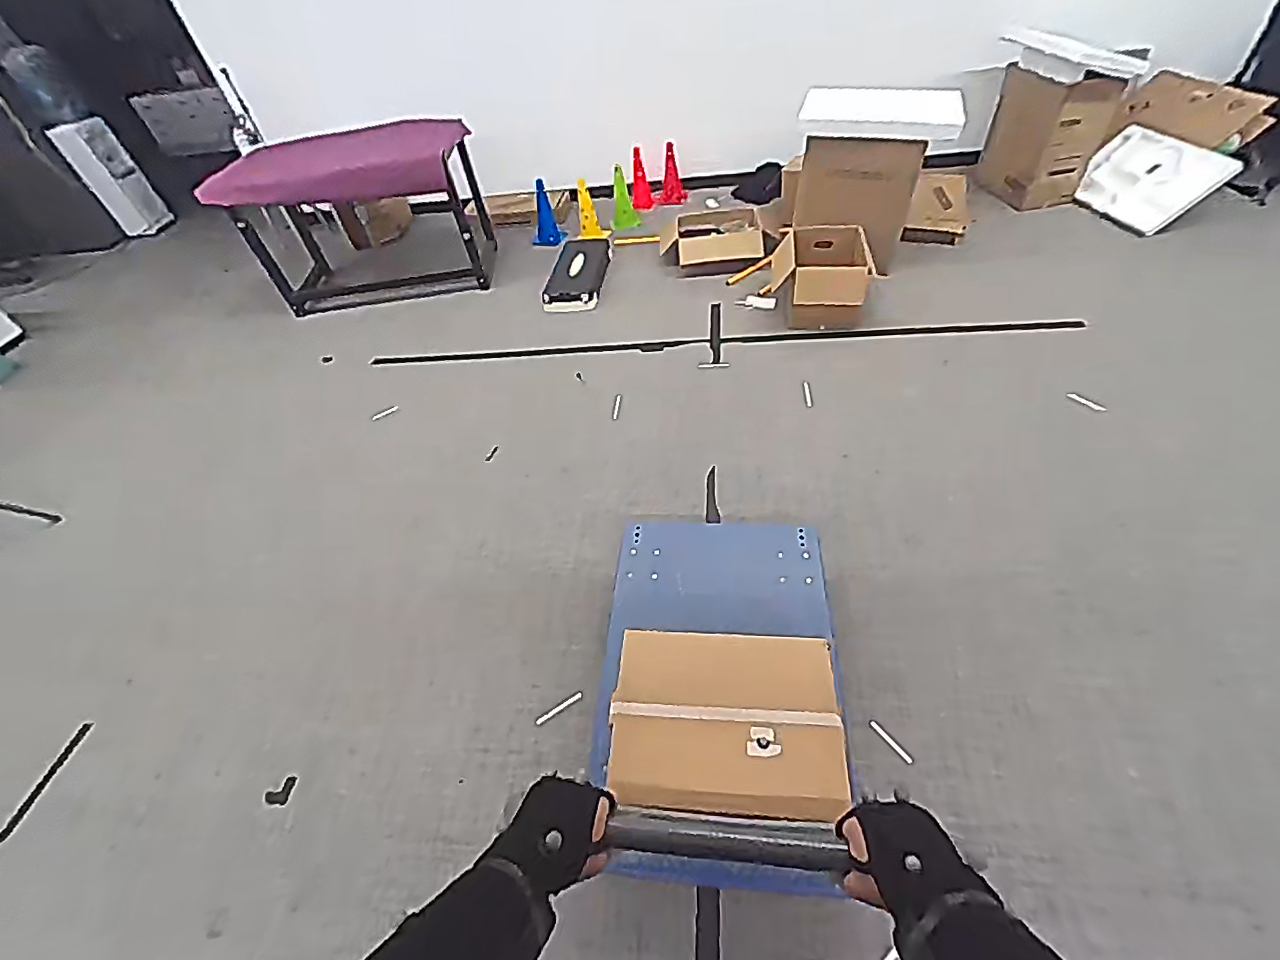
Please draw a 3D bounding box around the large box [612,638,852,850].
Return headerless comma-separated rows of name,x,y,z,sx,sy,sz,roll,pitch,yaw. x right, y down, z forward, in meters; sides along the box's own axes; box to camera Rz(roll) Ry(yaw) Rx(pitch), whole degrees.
large box,0.168,0.537,1.101,0.408,0.320,0.320,0,49,7
